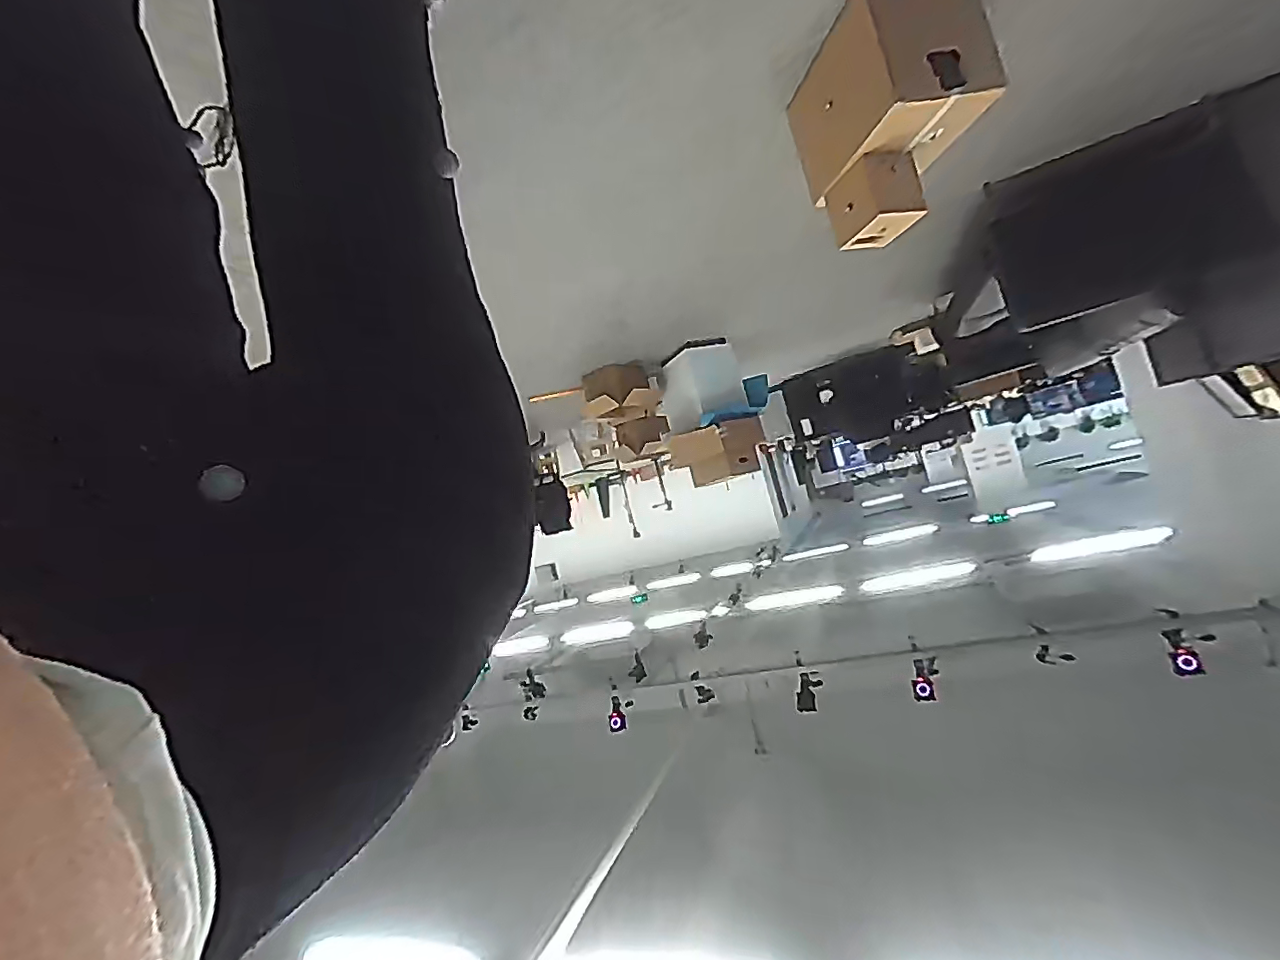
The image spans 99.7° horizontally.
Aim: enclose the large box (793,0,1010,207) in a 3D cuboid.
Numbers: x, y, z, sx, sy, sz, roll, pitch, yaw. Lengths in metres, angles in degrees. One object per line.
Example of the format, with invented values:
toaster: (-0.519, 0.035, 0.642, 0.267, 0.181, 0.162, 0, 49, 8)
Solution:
large box: (0.660, -1.009, 1.443, 0.320, 0.320, 0.408, -15, 176, -10)
